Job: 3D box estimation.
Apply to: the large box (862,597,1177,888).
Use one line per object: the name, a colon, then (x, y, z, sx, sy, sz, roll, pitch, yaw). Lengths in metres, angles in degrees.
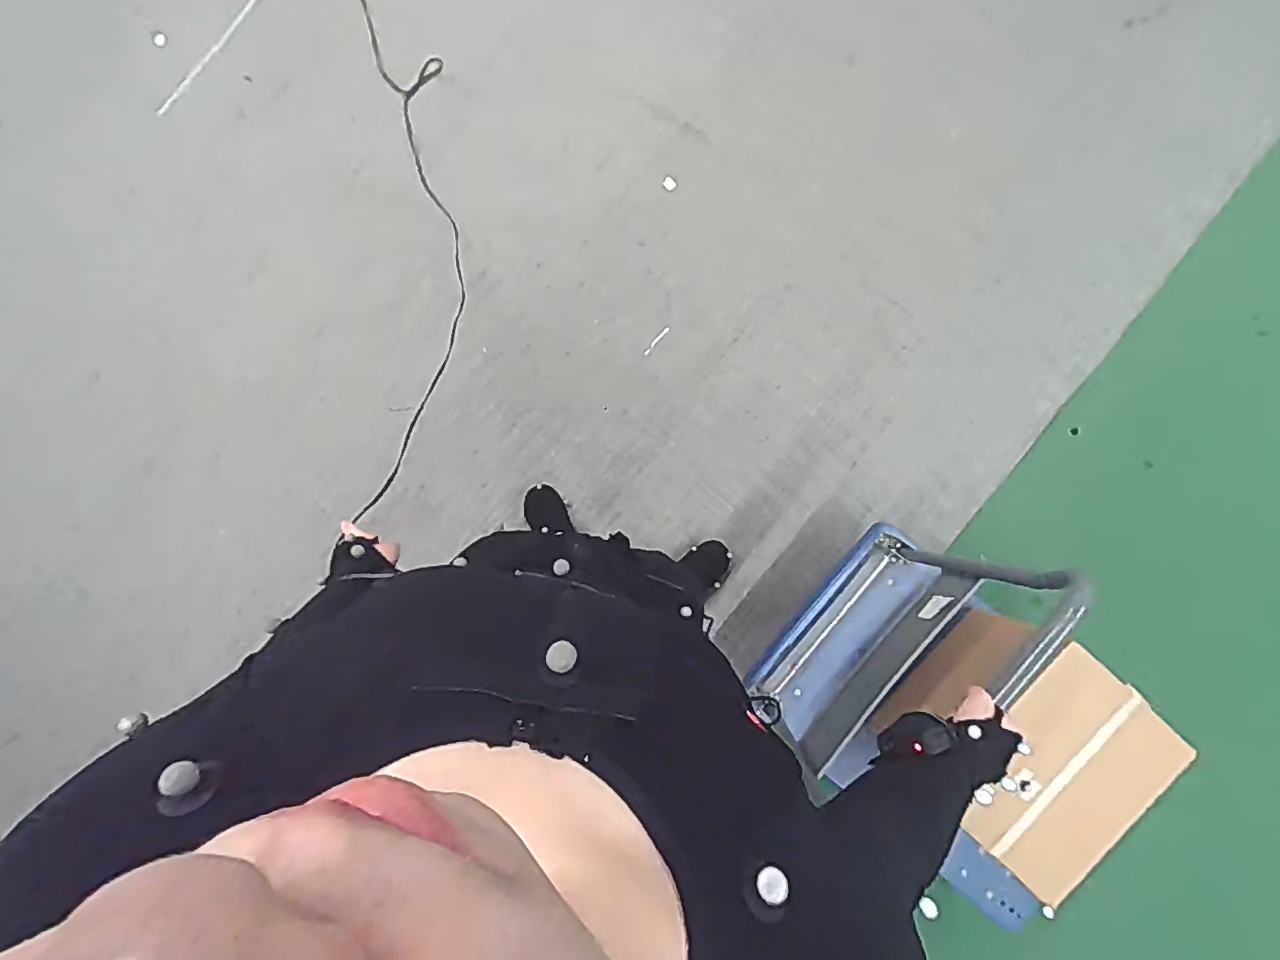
large box: (0.781, 0.527, 1.174, 0.320, 0.320, 0.408, 43, 90, 2)
